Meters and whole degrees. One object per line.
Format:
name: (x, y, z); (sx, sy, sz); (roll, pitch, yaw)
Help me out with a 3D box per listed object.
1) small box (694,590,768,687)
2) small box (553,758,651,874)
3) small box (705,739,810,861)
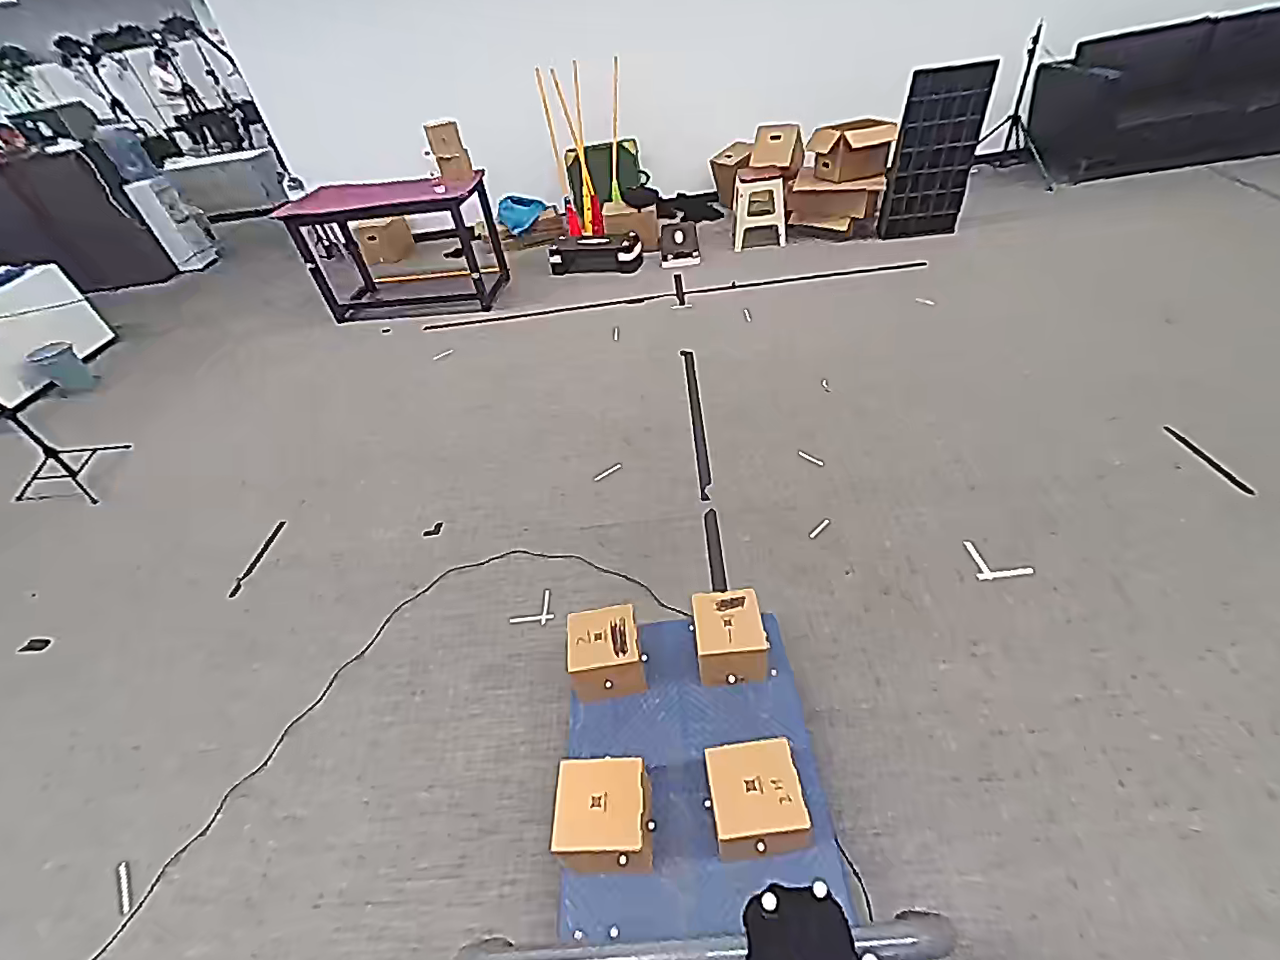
small box: (0.229, 0.408, 1.390); (0.168, 0.176, 0.179); (-7, 43, 4)
small box: (-0.071, 0.700, 1.124); (0.179, 0.176, 0.168); (-4, 41, 4)
small box: (0.236, 0.660, 1.111); (0.179, 0.176, 0.168); (-8, 42, 1)
